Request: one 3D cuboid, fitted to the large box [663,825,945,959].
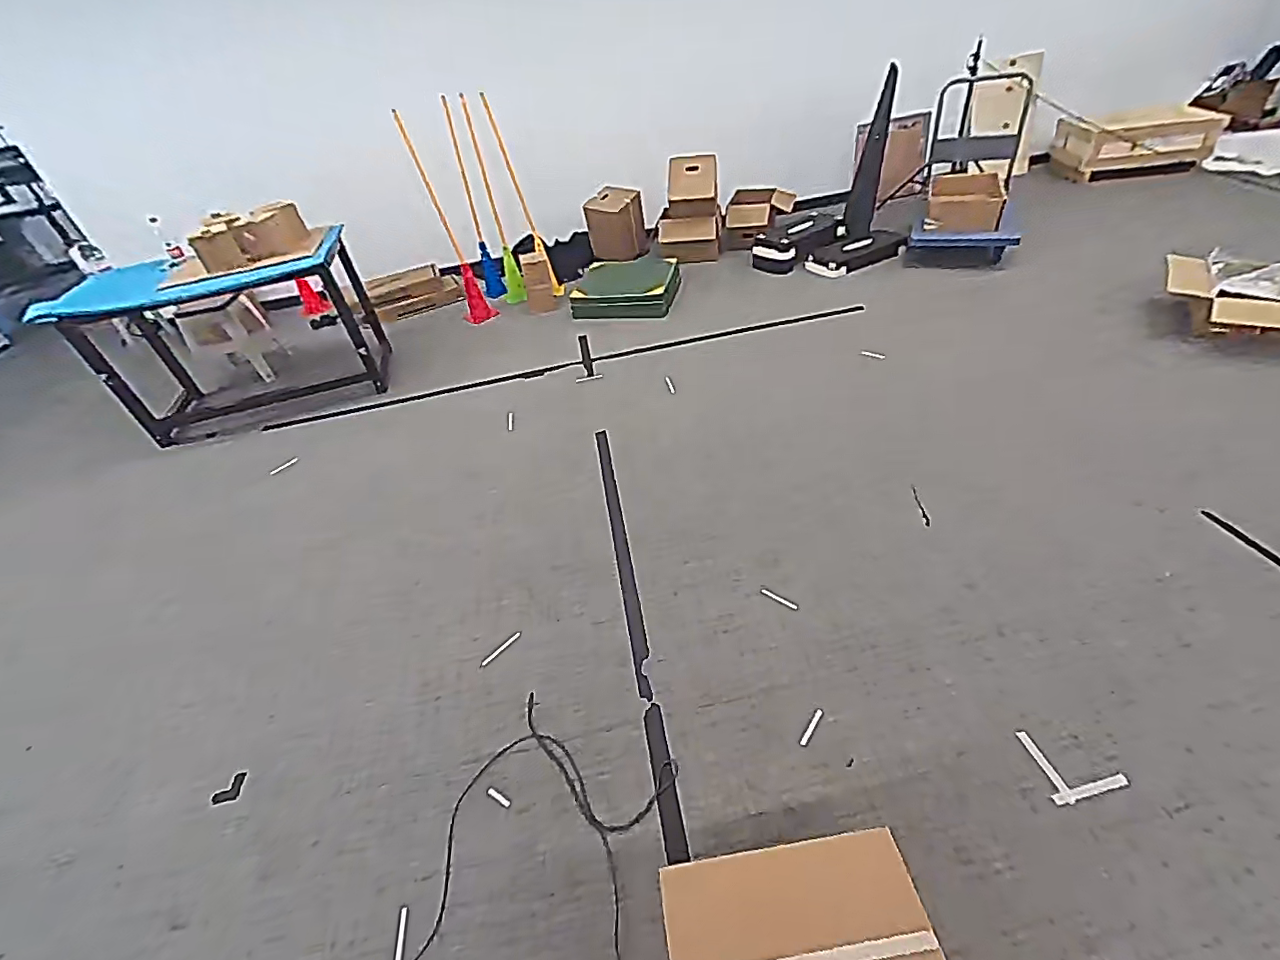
[{"bbox_3d":[0.270,0.842,0.907,0.408,0.320,0.320,-10,40,-1],"label":"large box"}]
